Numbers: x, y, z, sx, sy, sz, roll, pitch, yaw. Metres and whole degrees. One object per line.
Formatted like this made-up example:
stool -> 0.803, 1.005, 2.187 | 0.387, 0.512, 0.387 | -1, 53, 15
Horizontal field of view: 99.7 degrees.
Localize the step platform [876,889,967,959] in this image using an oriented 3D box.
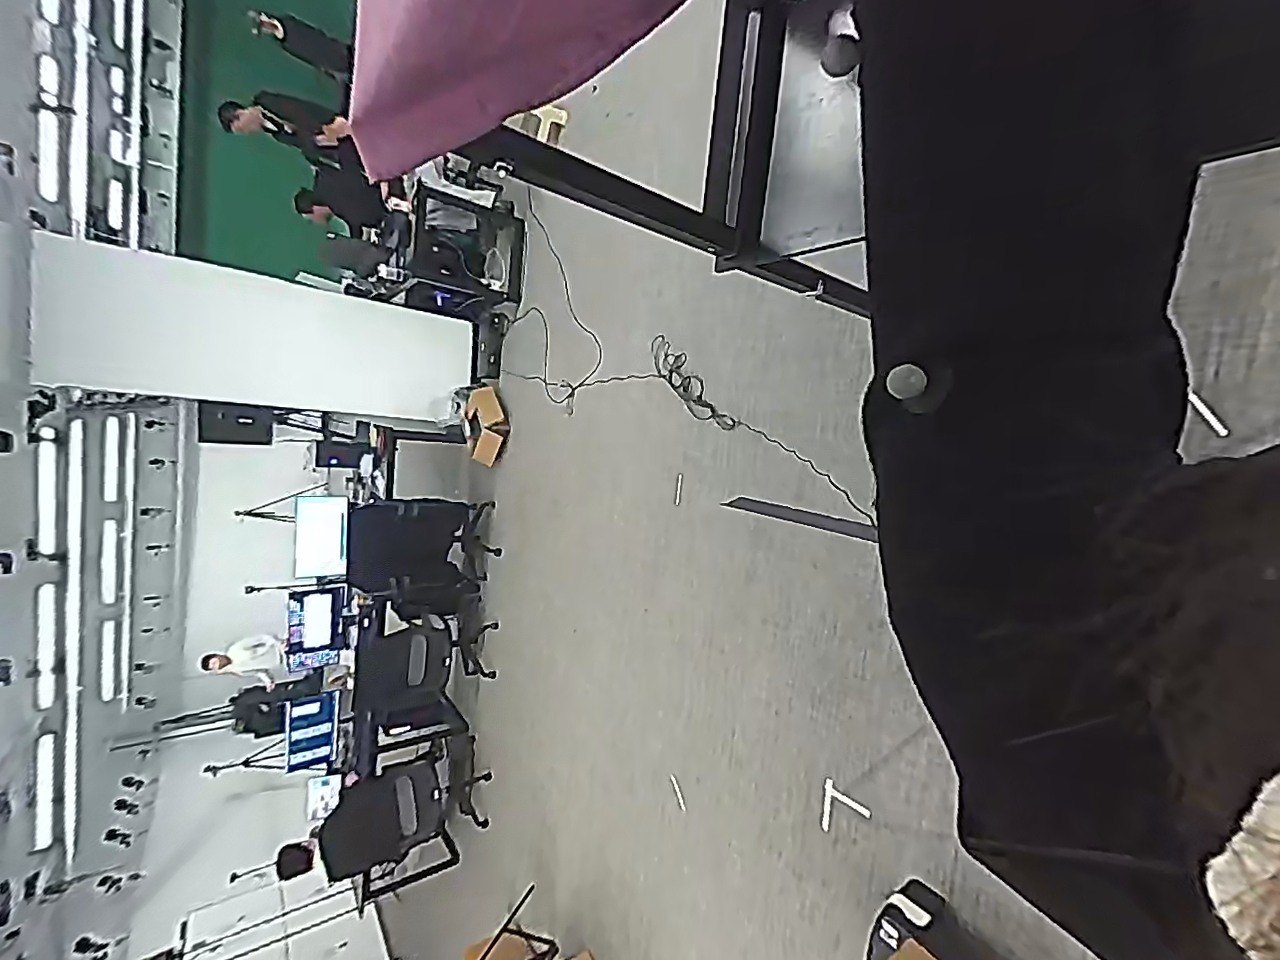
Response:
step platform -> 0.885, 1.328, 1.215 | 0.684, 0.204, 0.286 | 21, 105, 51
